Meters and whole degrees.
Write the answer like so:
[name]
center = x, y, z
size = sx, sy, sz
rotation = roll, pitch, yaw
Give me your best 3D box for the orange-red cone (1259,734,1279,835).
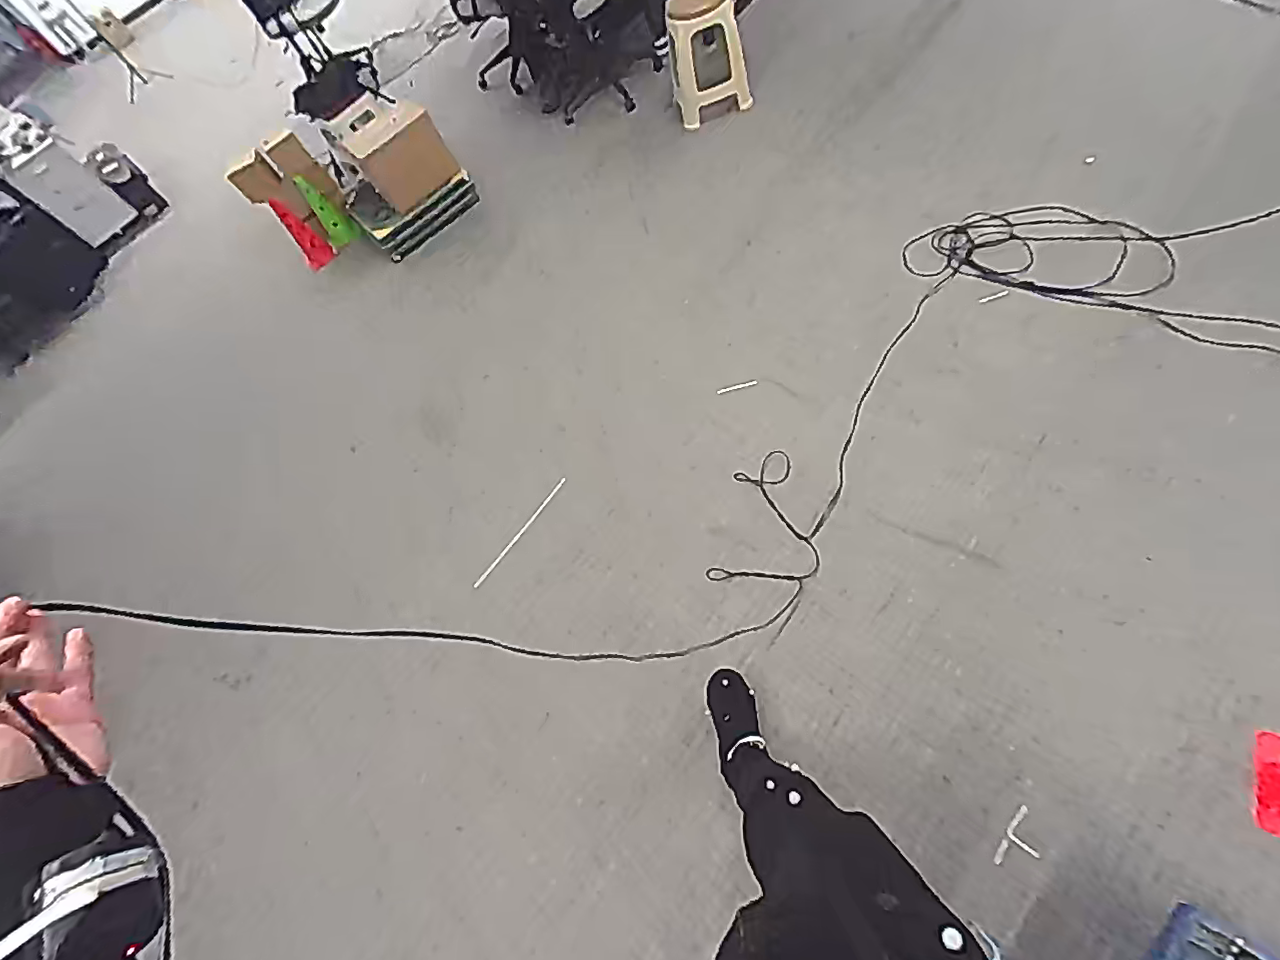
[orange-red cone]
center = 1.300, 0.548, 0.913
size = 0.198, 0.360, 0.199
rotation = 17, 68, 24
